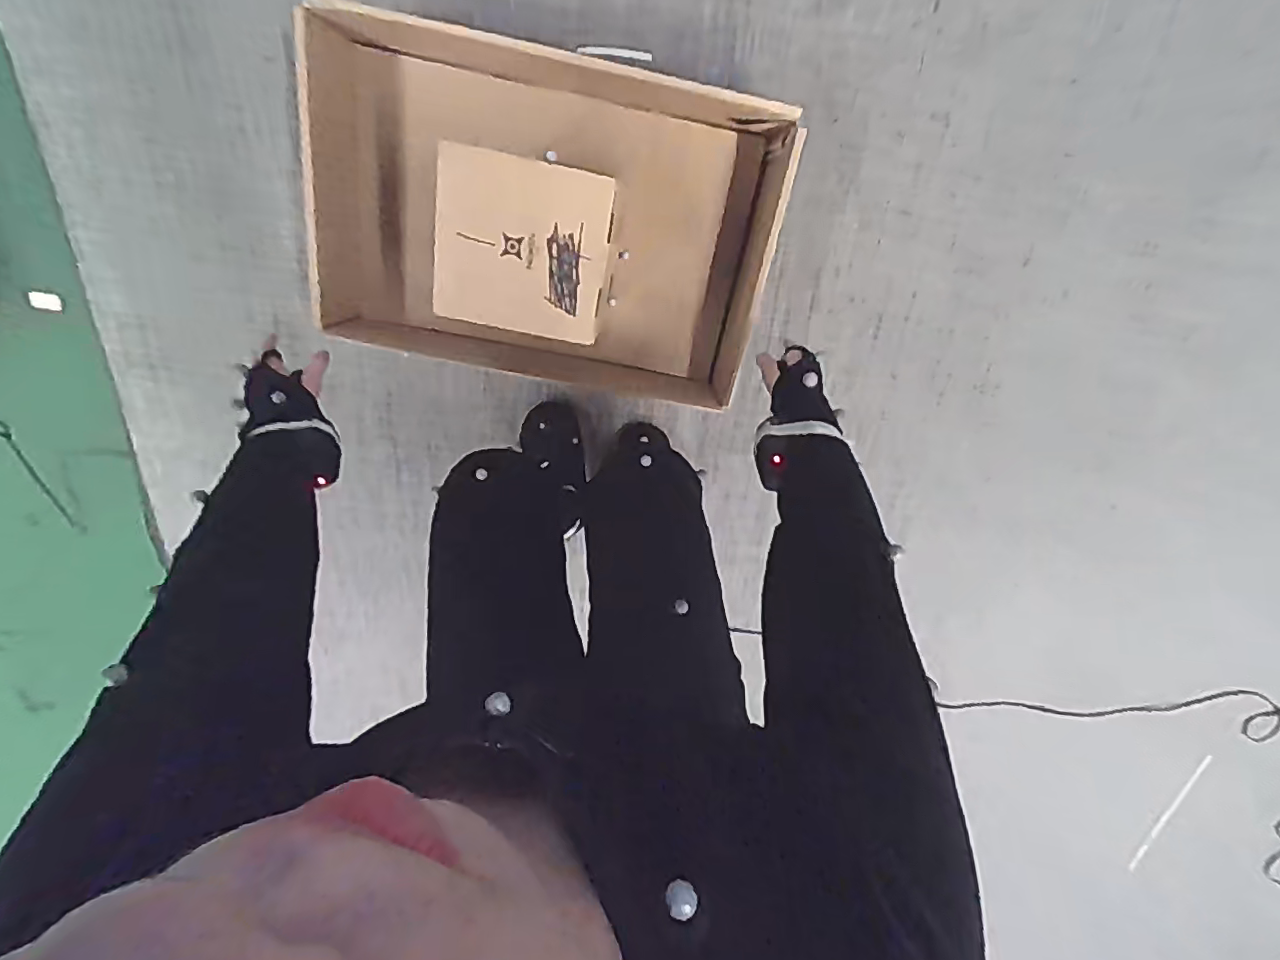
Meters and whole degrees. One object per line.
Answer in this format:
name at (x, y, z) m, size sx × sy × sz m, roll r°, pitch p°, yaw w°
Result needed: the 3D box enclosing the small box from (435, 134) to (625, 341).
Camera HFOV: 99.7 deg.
small box at (-0.116, -0.272, 0.618) m, size 0.179 × 0.176 × 0.168 m, roll 11°, pitch 115°, yaw -4°
